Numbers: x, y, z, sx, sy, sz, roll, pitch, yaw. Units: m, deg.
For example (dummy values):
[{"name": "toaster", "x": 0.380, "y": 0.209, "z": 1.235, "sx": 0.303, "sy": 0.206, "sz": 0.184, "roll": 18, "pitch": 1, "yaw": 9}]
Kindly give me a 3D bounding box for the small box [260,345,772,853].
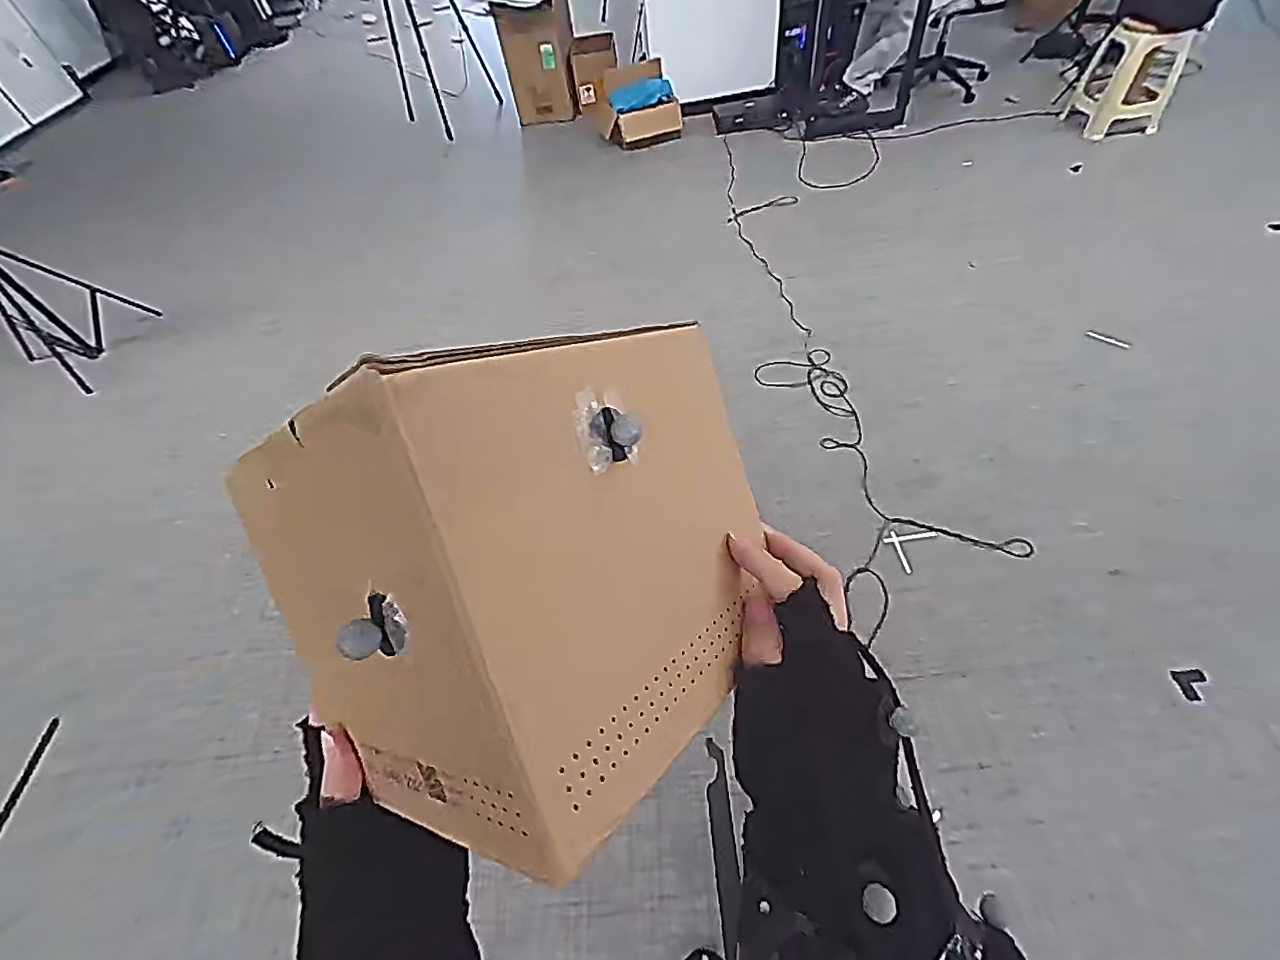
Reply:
[{"name": "small box", "x": -0.052, "y": 0.044, "z": 0.284, "sx": 0.168, "sy": 0.176, "sz": 0.179, "roll": -12, "pitch": 8, "yaw": 41}]
